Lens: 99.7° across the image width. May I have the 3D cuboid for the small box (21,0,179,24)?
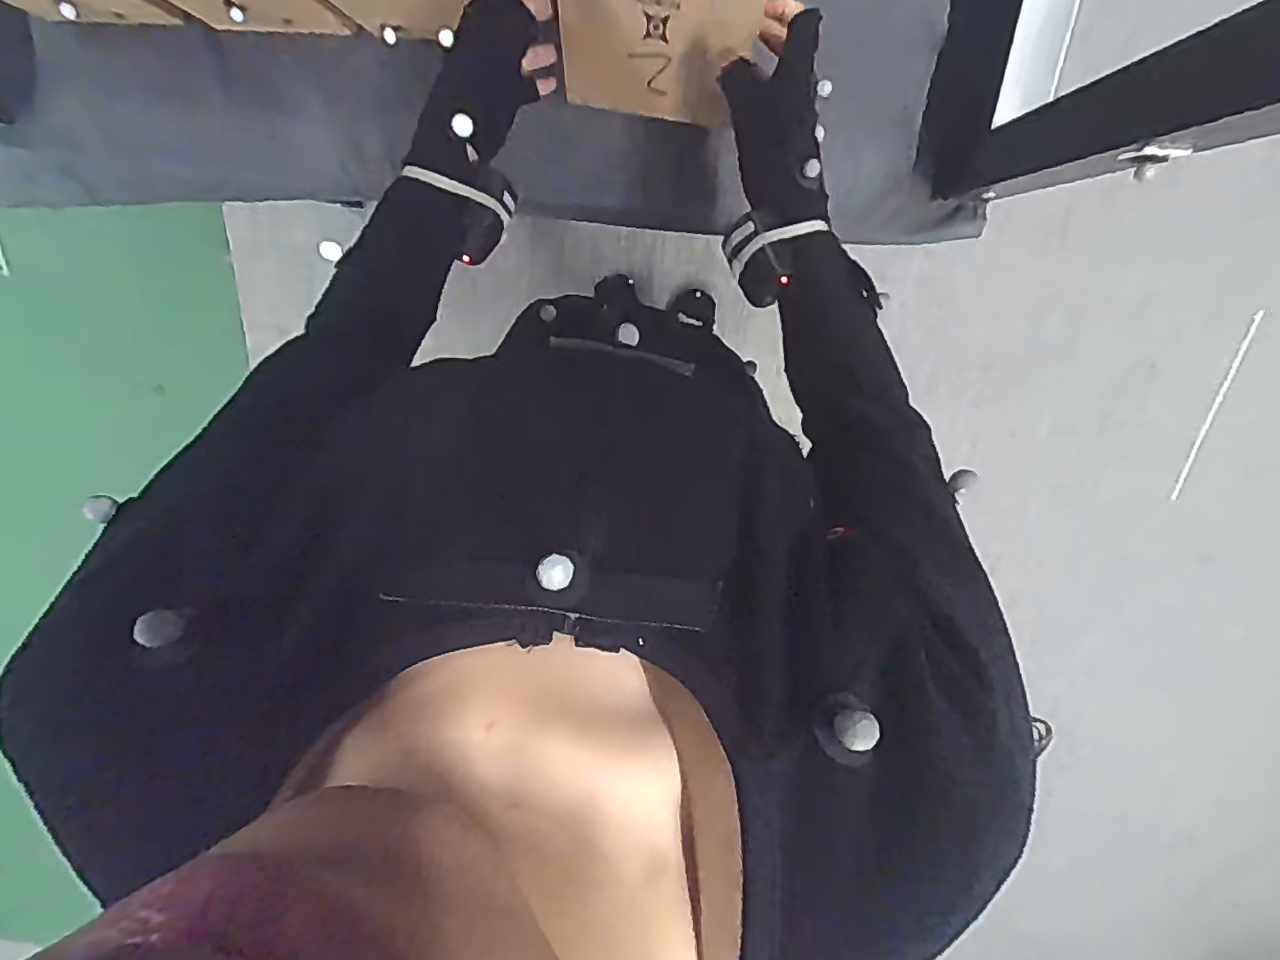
[{"bbox_3d":[-0.583,-0.563,0.494,0.168,0.176,0.179,4,111,4],"label":"small box"}]
